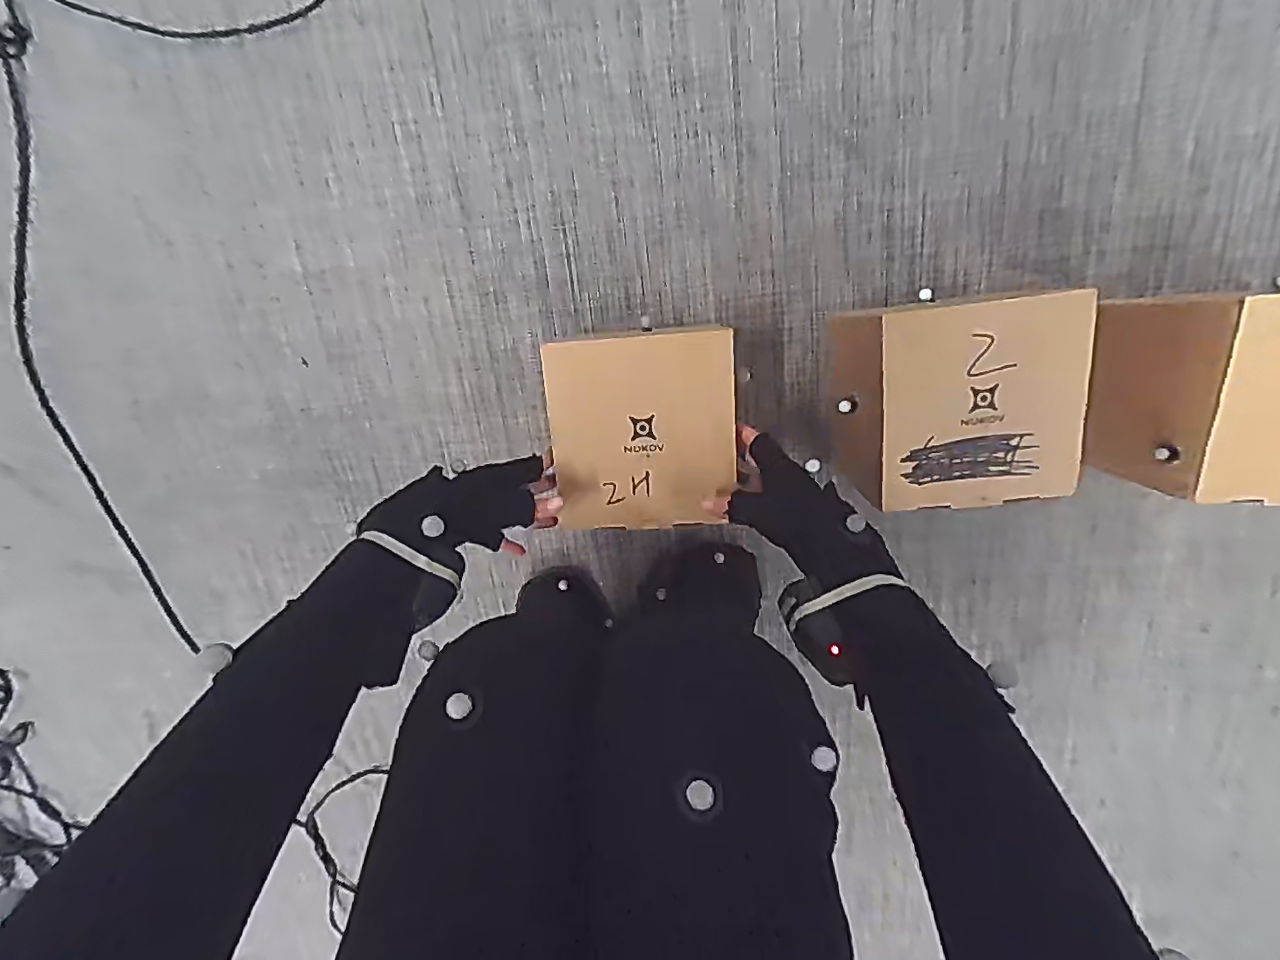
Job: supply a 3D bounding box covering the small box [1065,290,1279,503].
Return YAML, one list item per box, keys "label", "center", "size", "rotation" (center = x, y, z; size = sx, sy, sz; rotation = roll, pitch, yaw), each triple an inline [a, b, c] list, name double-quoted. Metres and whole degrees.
- label: "small box"
  center: [0.557, -0.089, 0.521]
  size: [0.168, 0.176, 0.179]
  rotation: [-3, 107, 4]
